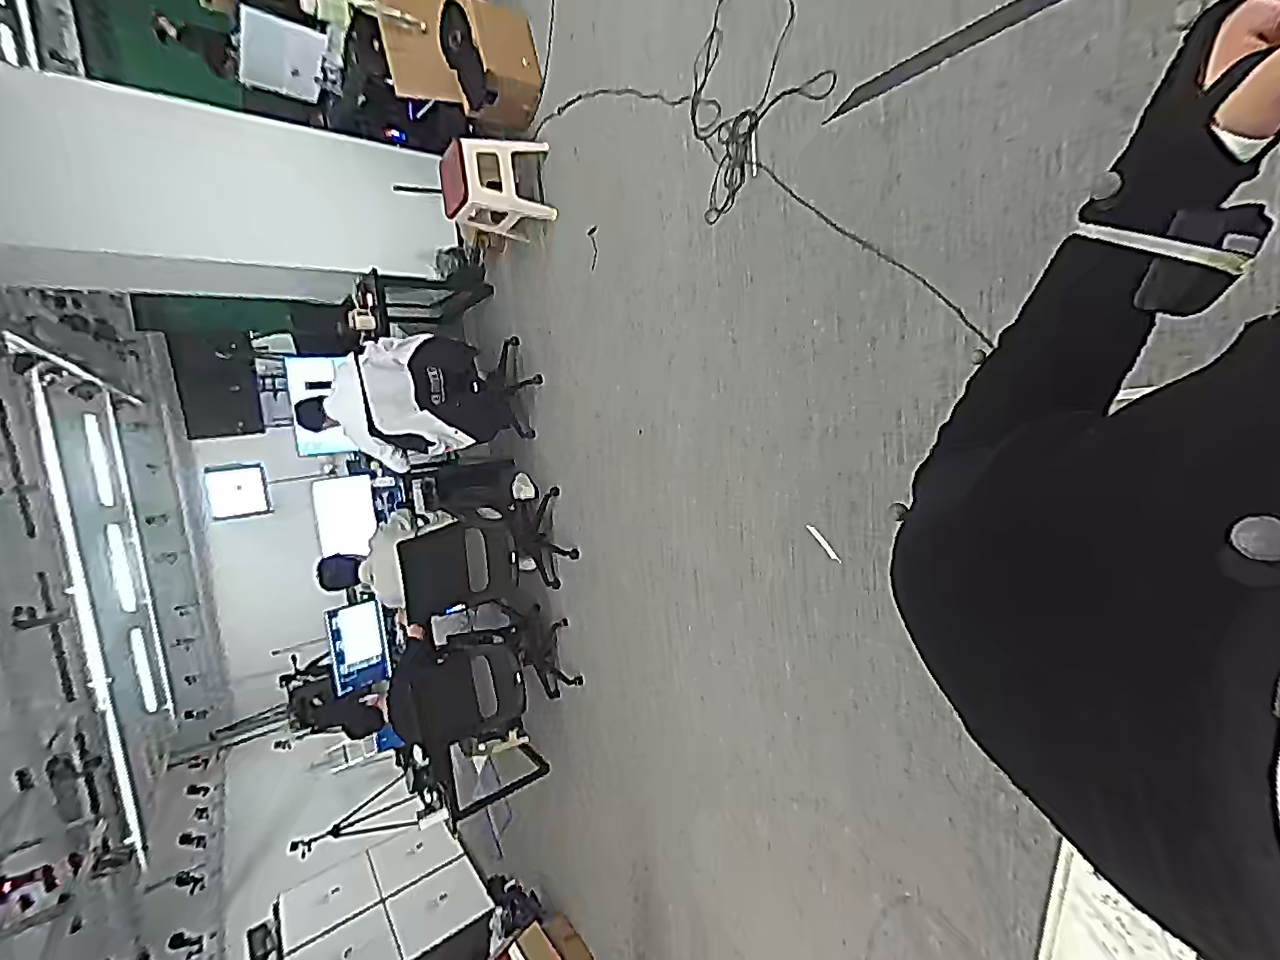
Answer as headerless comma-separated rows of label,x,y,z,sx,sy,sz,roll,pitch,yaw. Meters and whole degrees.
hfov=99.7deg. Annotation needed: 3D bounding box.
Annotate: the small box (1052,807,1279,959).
small box,0.651,0.561,0.669,0.168,0.176,0.179,17,111,52
